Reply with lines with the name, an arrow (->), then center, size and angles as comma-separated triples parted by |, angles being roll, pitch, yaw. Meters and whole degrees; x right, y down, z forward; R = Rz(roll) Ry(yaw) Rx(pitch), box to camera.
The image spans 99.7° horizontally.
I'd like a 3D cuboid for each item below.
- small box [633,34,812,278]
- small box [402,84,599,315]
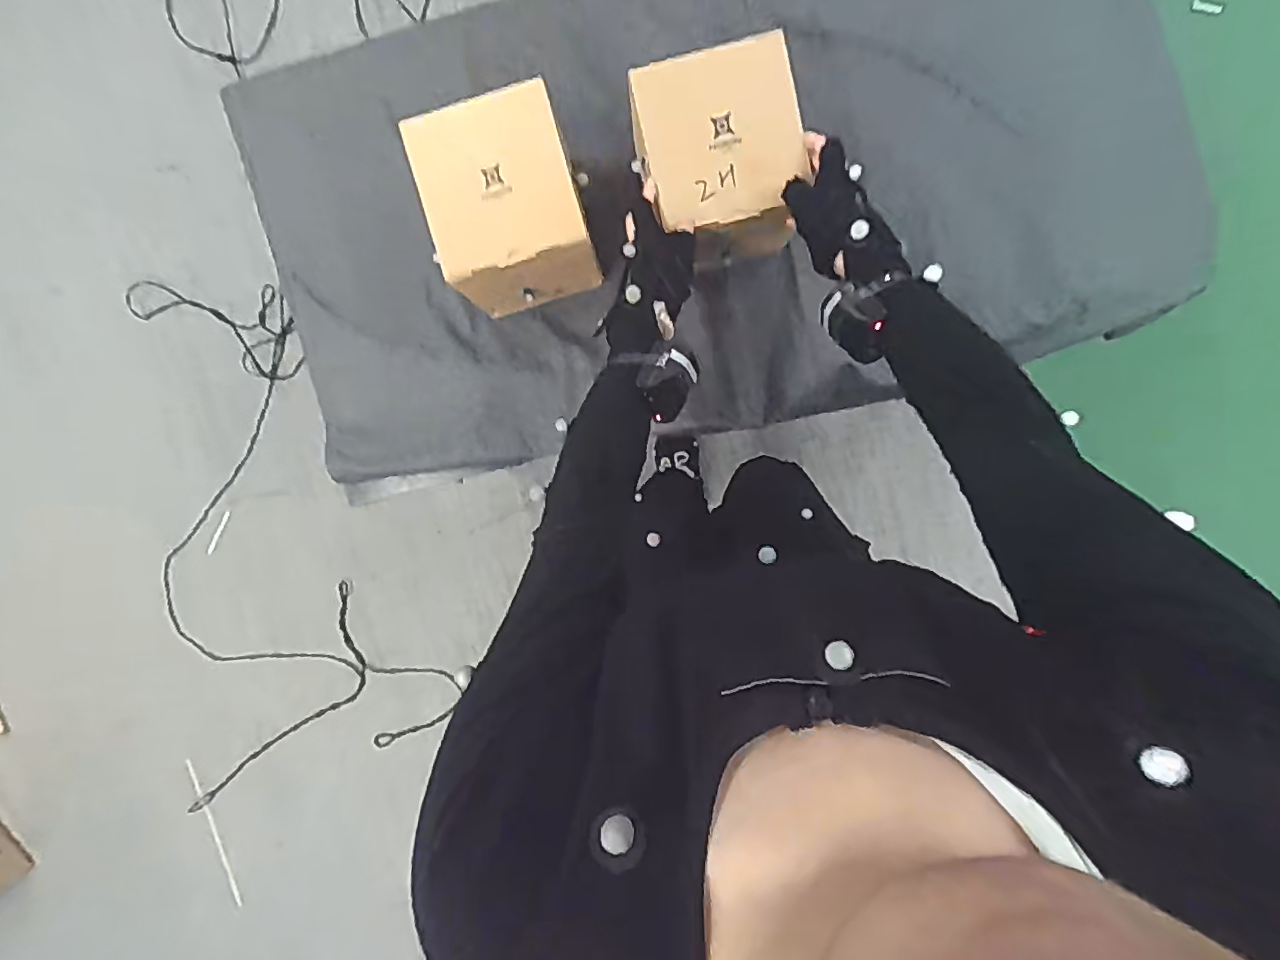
small box -> 0.088, -0.369, 0.649 | 0.168, 0.176, 0.179 | -12, 93, 3
small box -> -0.156, -0.325, 0.663 | 0.168, 0.176, 0.179 | -16, 94, 3
